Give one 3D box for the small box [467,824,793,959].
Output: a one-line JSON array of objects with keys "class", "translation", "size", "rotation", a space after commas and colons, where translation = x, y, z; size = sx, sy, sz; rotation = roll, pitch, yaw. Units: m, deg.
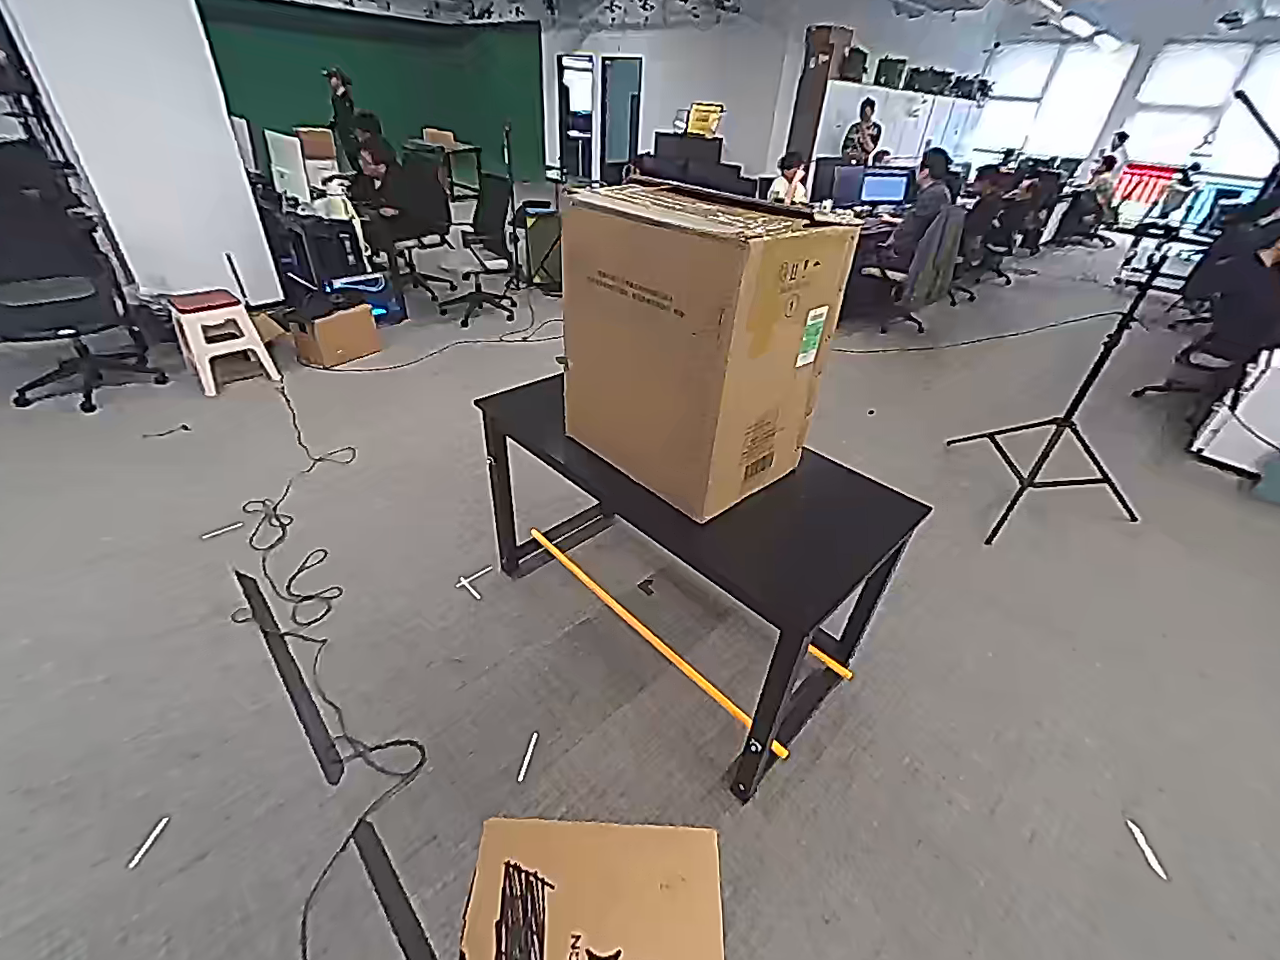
[{"class": "small box", "translation": [-0.007, 0.326, 0.322], "size": [0.179, 0.176, 0.168], "rotation": [2, 43, 0]}]
